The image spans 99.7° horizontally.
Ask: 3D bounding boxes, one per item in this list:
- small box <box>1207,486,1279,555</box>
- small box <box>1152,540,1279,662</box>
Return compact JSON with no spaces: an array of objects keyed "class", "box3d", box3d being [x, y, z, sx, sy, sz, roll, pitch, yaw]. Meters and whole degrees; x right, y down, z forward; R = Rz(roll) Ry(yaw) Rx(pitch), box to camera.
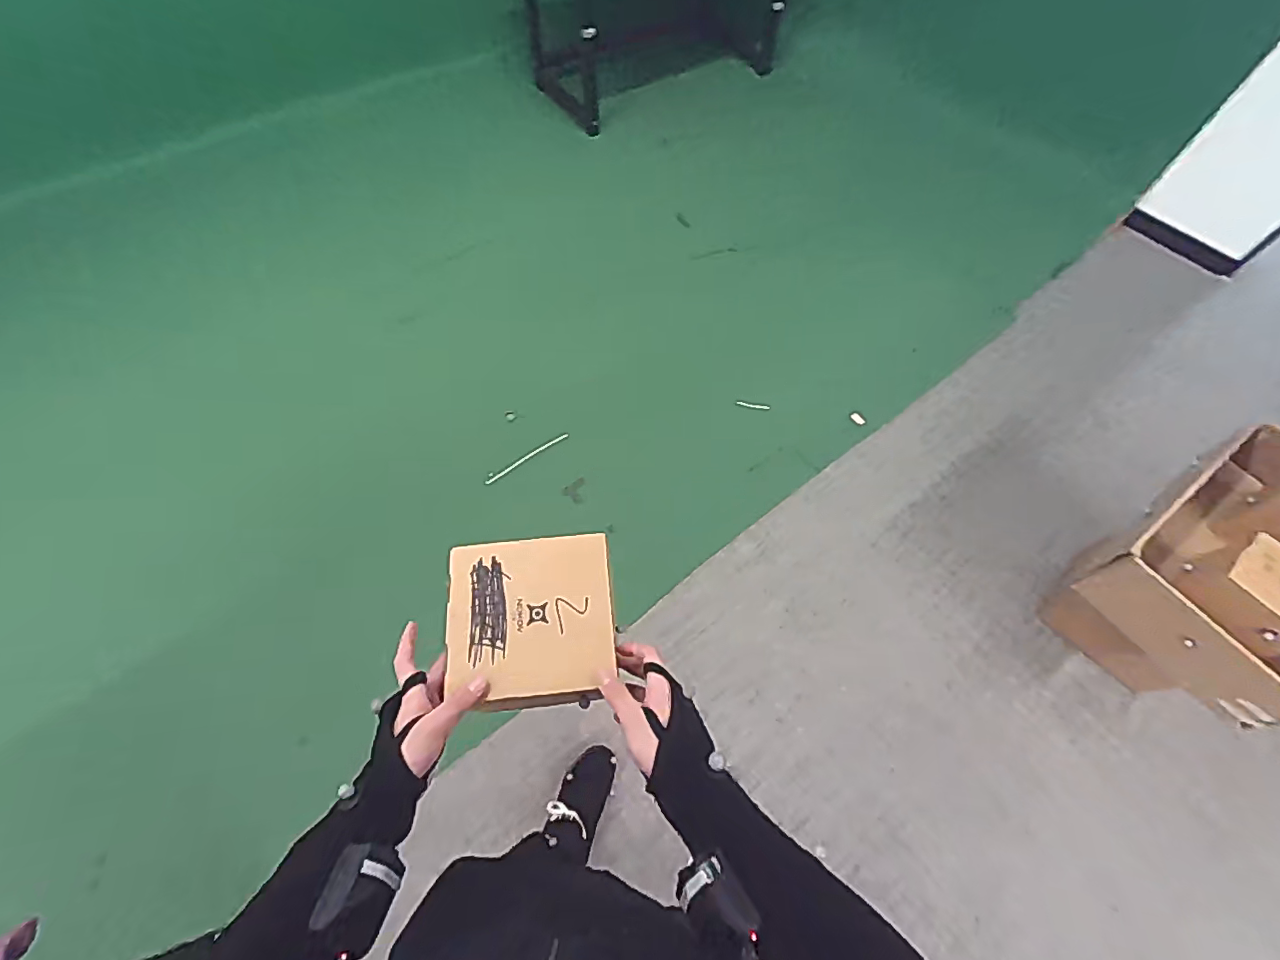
[{"class":"small box","box3d":[1.476,0.122,1.226,0.168,0.176,0.179,-29,67,-16]},{"class":"small box","box3d":[1.259,0.262,1.134,0.168,0.176,0.179,-32,67,-19]}]
